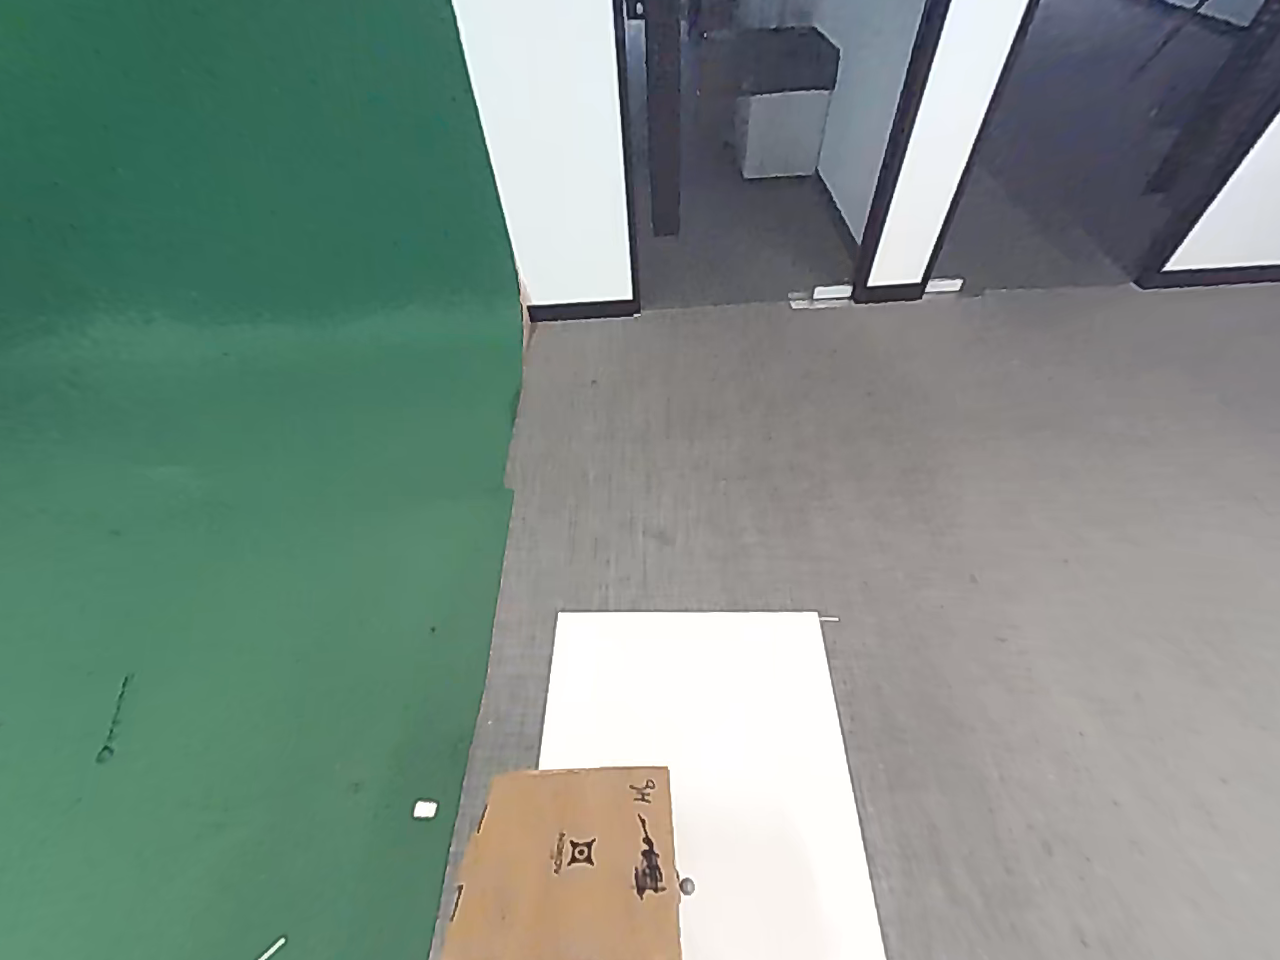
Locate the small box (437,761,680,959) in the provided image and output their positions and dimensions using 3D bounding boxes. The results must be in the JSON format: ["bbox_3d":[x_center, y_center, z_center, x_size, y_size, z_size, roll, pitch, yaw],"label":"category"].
[{"bbox_3d":[-0.056,0.389,0.489,0.179,0.176,0.168,-4,21,1],"label":"small box"}]
